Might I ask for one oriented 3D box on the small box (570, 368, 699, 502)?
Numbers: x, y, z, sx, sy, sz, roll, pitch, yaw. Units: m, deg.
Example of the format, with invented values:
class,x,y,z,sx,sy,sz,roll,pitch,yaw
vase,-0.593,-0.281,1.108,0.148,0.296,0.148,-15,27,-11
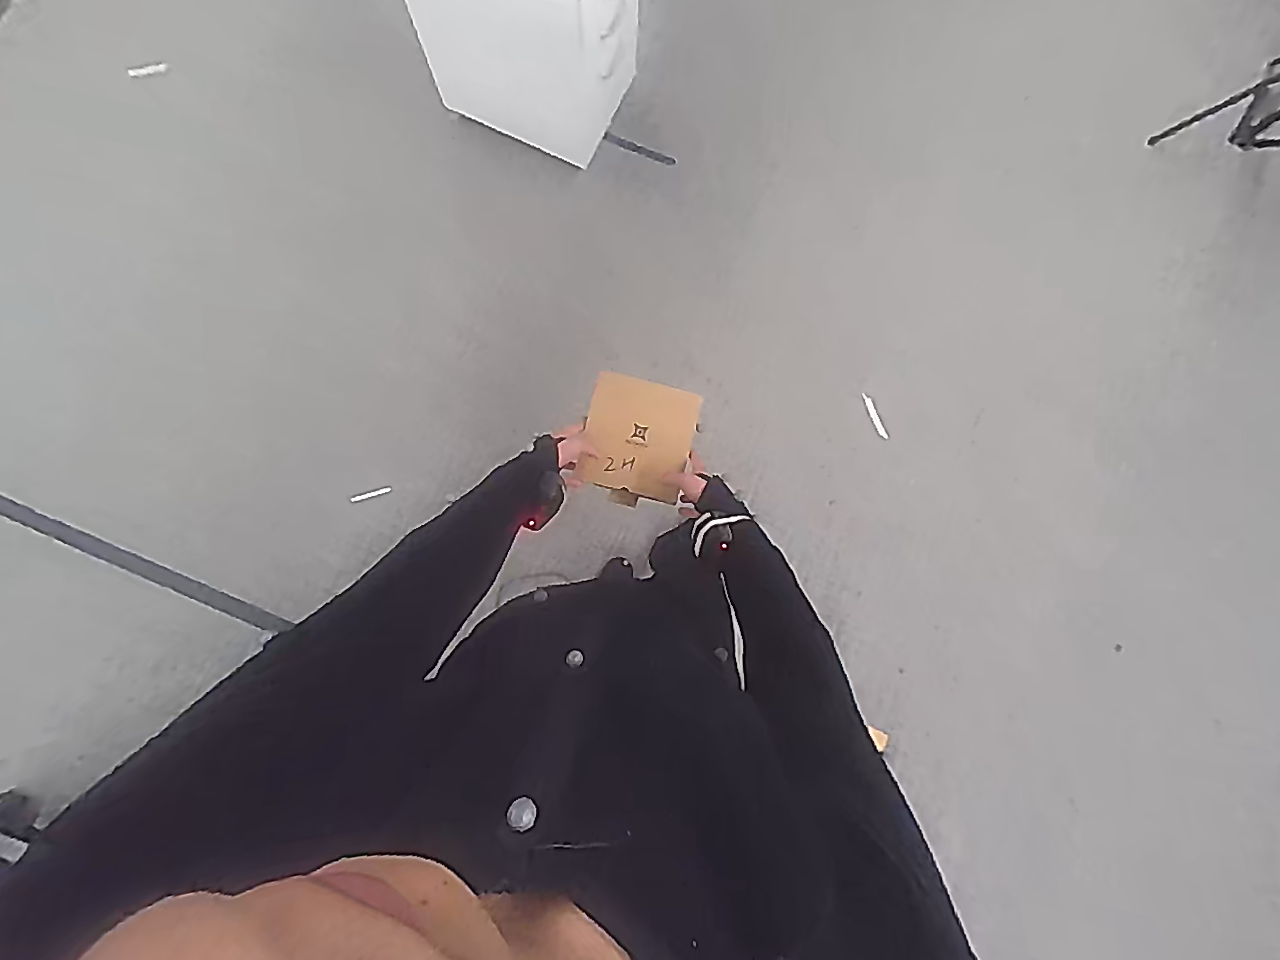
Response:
class,x,y,z,sx,sy,sz,roll,pitch,yaw
small box,-0.007,-0.070,0.899,0.168,0.176,0.179,14,92,2
